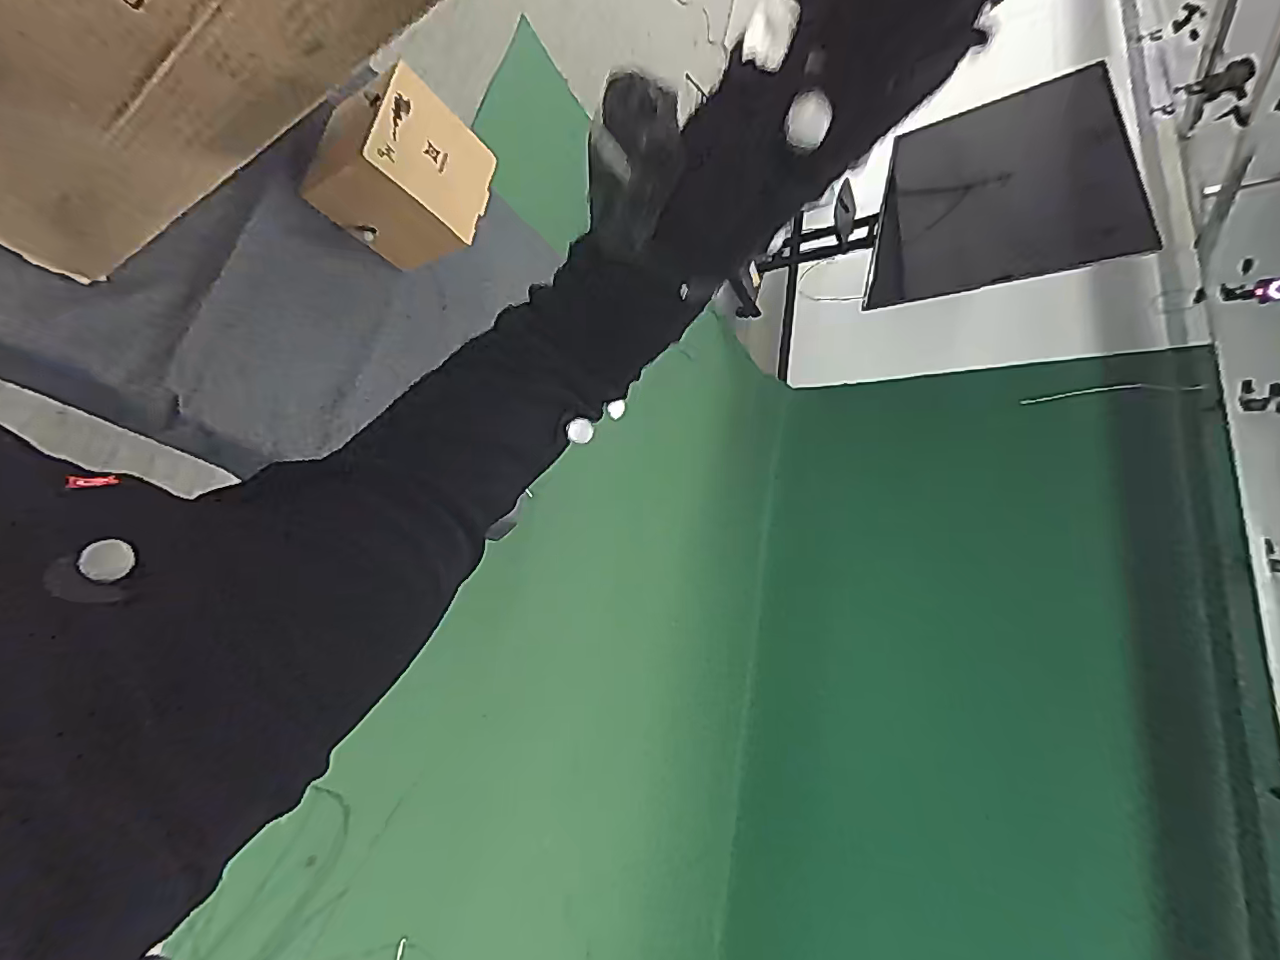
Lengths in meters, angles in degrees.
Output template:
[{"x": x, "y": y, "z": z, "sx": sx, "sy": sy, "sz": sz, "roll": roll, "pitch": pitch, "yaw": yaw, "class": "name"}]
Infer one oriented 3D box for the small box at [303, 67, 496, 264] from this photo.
[{"x": -0.352, "y": -0.446, "z": 0.804, "sx": 0.179, "sy": 0.176, "sz": 0.168, "roll": 32, "pitch": 62, "yaw": -52, "class": "small box"}]
